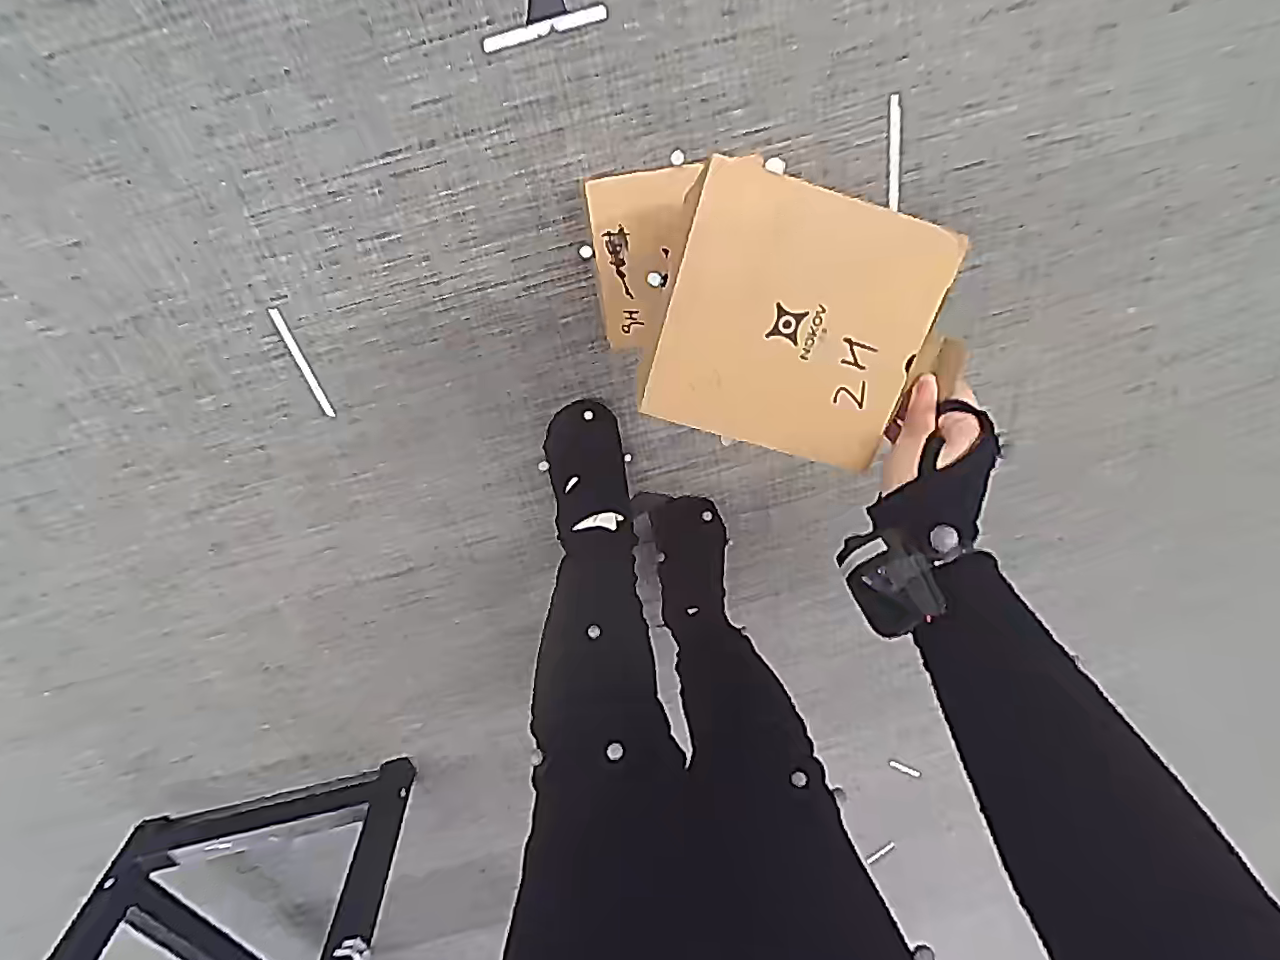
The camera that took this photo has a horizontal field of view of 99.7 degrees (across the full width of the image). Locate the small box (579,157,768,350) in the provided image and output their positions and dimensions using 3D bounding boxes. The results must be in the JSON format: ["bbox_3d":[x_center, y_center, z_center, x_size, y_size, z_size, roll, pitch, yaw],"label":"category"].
[{"bbox_3d":[0.033,-0.262,0.611,0.179,0.176,0.168,-10,120,-3],"label":"small box"}]

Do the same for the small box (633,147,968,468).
[{"bbox_3d":[0.099,-0.130,0.427,0.179,0.176,0.168,15,110,-6],"label":"small box"}]
